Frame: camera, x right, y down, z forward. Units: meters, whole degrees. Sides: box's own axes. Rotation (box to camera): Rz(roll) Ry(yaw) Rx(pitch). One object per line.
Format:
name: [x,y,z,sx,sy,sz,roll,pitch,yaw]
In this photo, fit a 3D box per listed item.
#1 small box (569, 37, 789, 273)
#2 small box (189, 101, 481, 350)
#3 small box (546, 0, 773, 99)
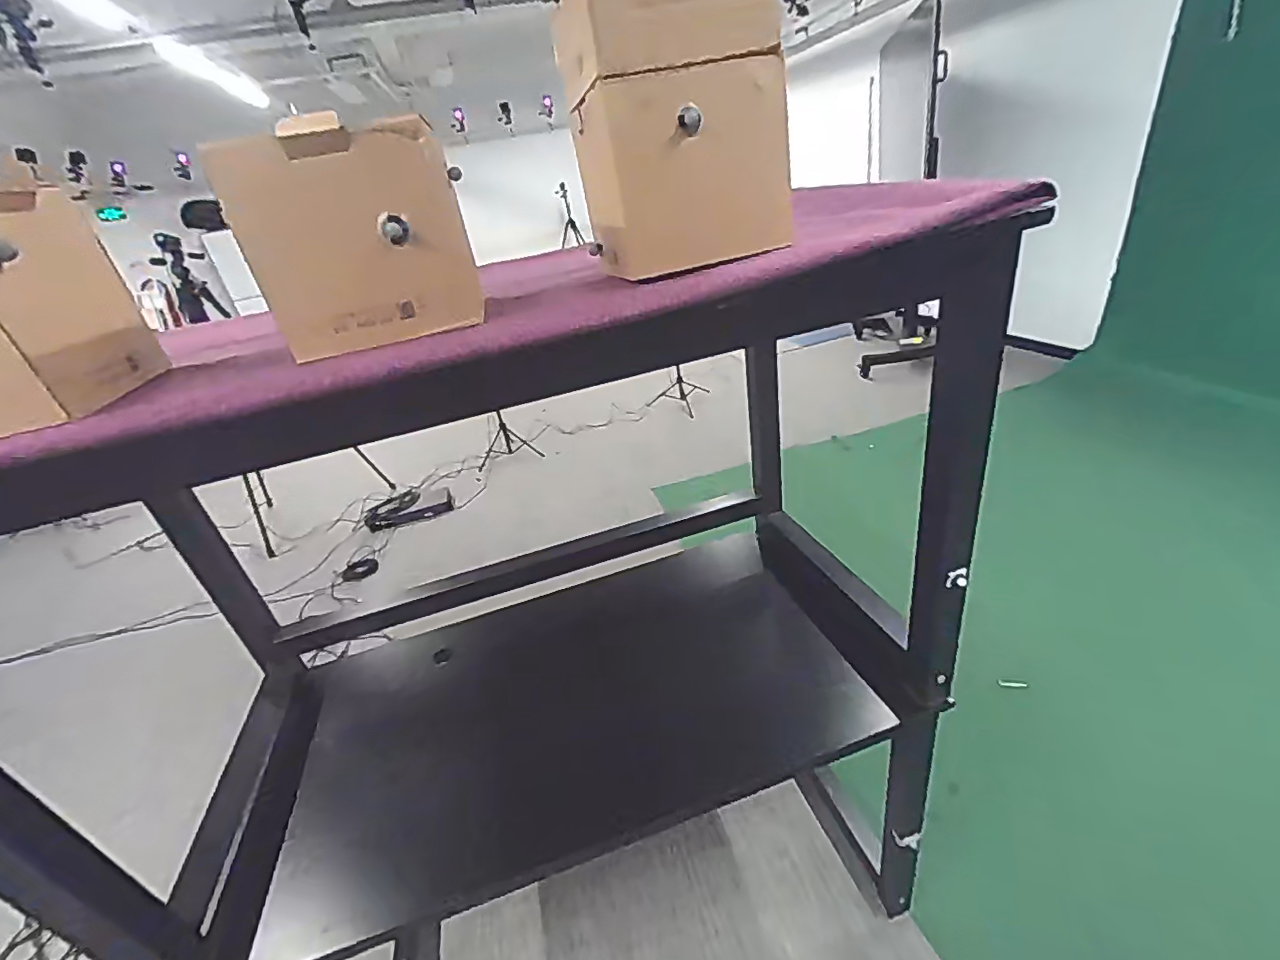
small box: [0.039,-0.322,0.567,0.179,0.176,0.168,-16,27,-10]
small box: [-0.254,-0.230,0.508,0.168,0.176,0.179,-14,28,-9]
small box: [0.007,-0.466,0.498,0.179,0.176,0.168,-16,27,-10]
